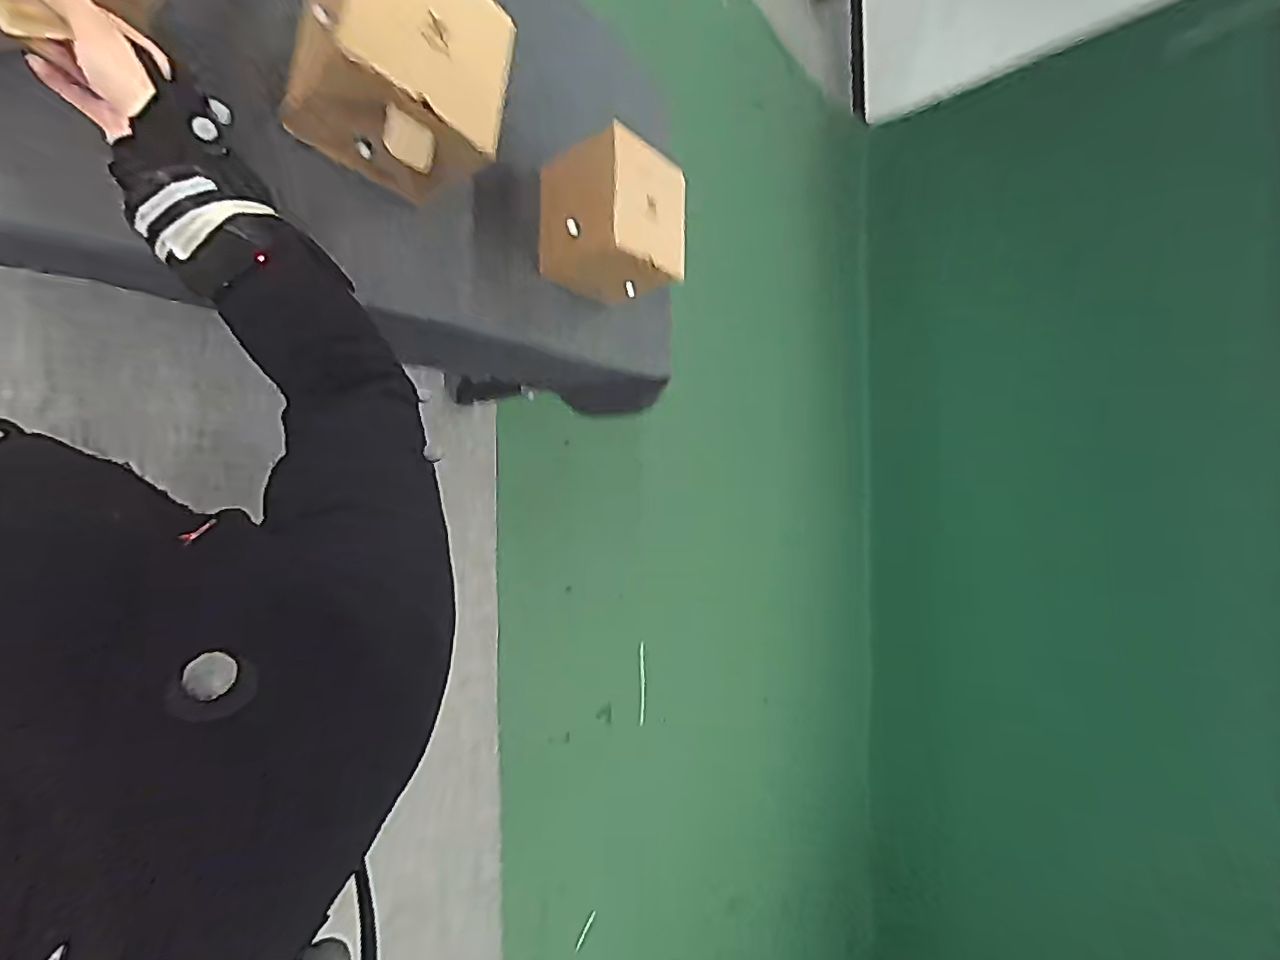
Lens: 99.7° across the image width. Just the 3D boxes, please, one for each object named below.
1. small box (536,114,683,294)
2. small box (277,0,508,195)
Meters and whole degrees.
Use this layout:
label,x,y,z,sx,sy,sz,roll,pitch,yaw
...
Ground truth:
label,x,y,z,sx,sy,sz,roll,pitch,yaw
small box,-0.049,-0.412,0.849,0.168,0.176,0.179,1,87,-50
small box,-0.270,-0.459,0.593,0.168,0.176,0.179,14,79,-49
